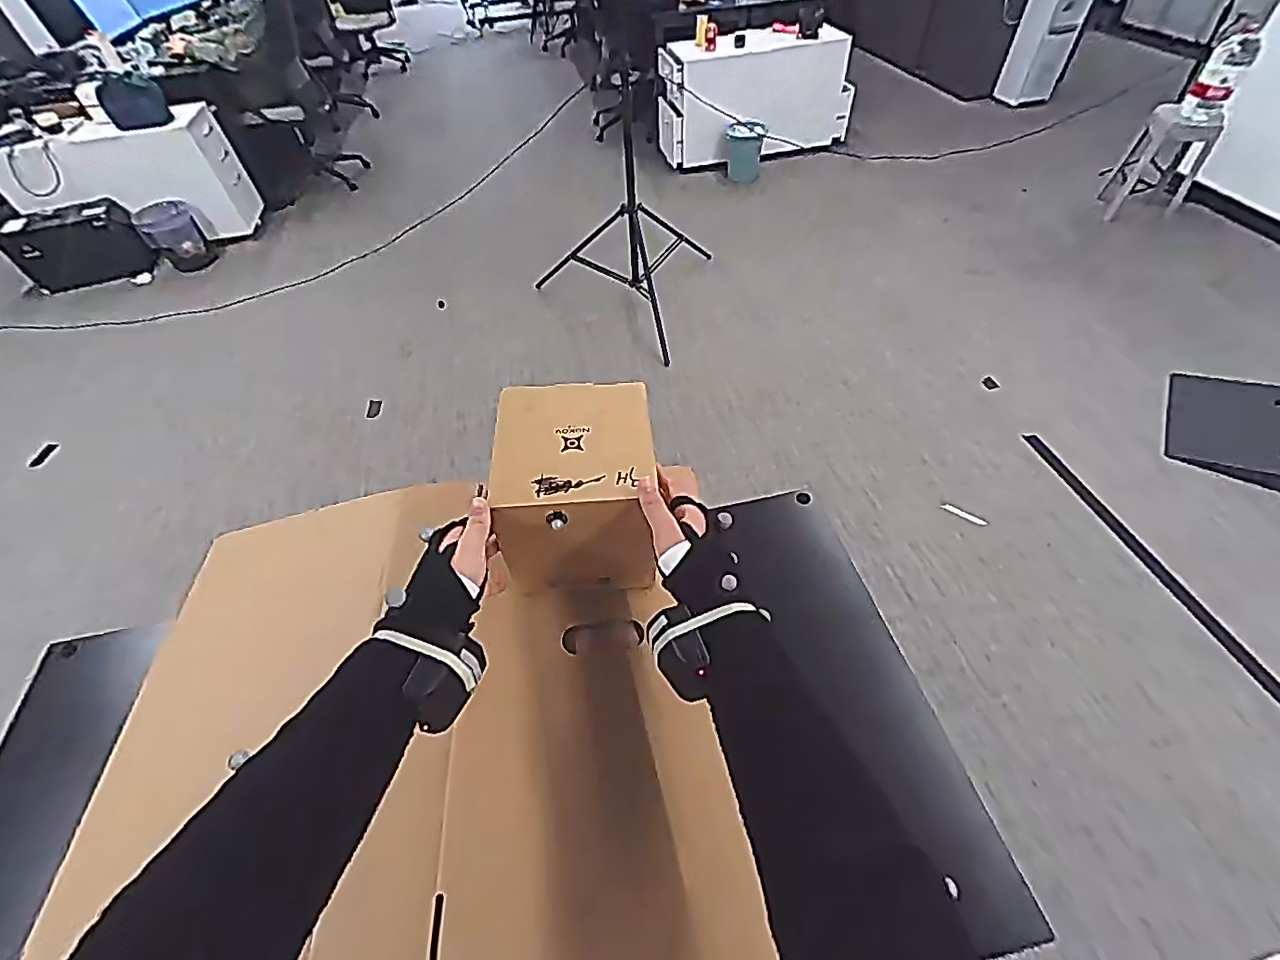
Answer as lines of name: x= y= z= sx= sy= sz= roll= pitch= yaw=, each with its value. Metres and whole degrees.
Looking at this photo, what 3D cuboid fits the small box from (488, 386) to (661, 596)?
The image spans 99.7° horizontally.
small box: x=-0.067 y=0.013 z=0.624 sx=0.168 sy=0.176 sz=0.179 roll=-4 pitch=48 yaw=-2
